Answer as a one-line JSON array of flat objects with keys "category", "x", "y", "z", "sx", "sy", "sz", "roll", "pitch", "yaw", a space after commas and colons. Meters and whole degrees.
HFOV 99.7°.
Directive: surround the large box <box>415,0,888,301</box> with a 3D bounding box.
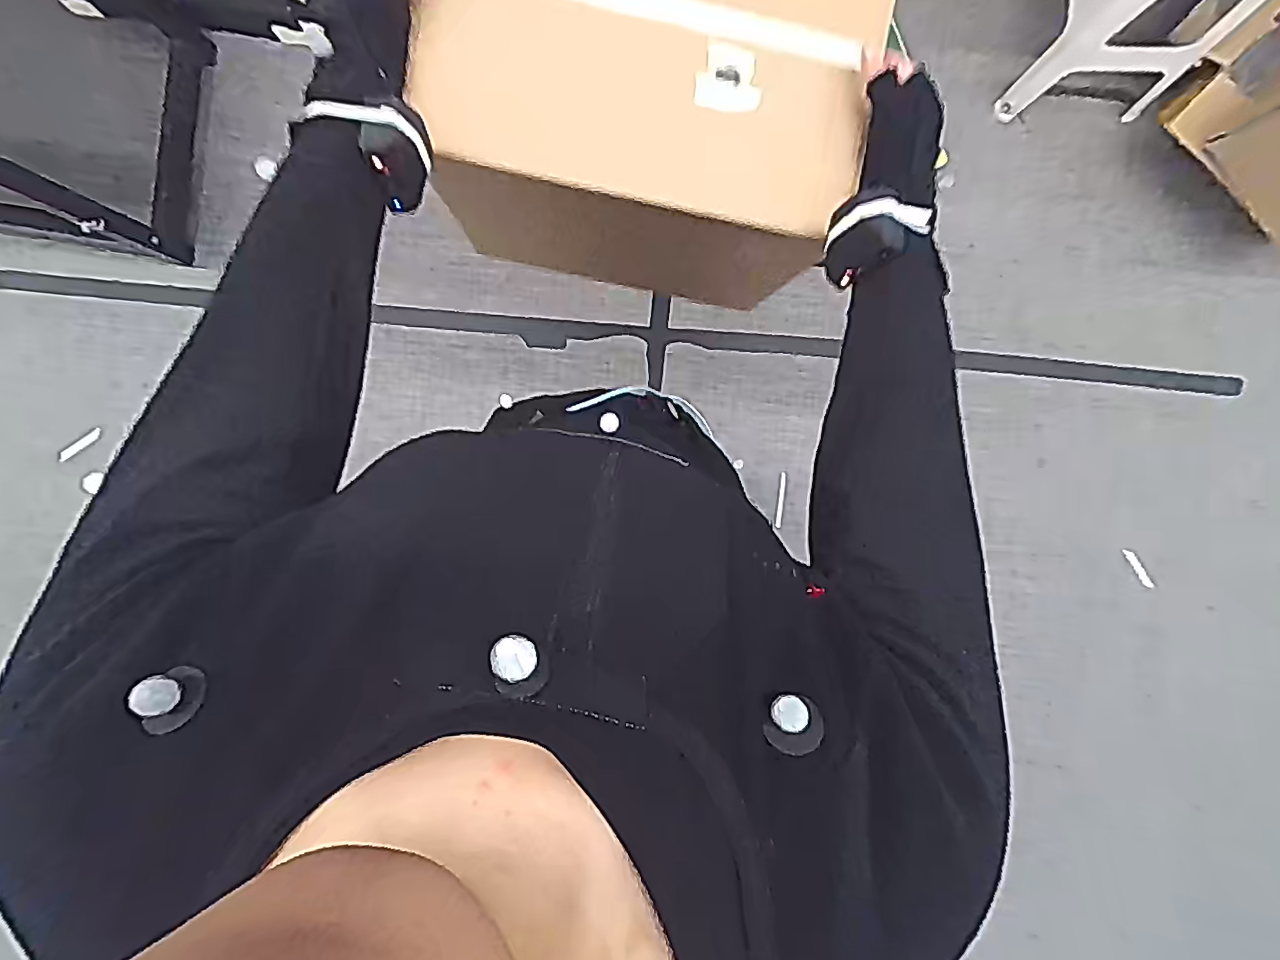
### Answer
[{"category": "large box", "x": 0.005, "y": -0.427, "z": 0.622, "sx": 0.408, "sy": 0.320, "sz": 0.320, "roll": 9, "pitch": 95, "yaw": -6}]
